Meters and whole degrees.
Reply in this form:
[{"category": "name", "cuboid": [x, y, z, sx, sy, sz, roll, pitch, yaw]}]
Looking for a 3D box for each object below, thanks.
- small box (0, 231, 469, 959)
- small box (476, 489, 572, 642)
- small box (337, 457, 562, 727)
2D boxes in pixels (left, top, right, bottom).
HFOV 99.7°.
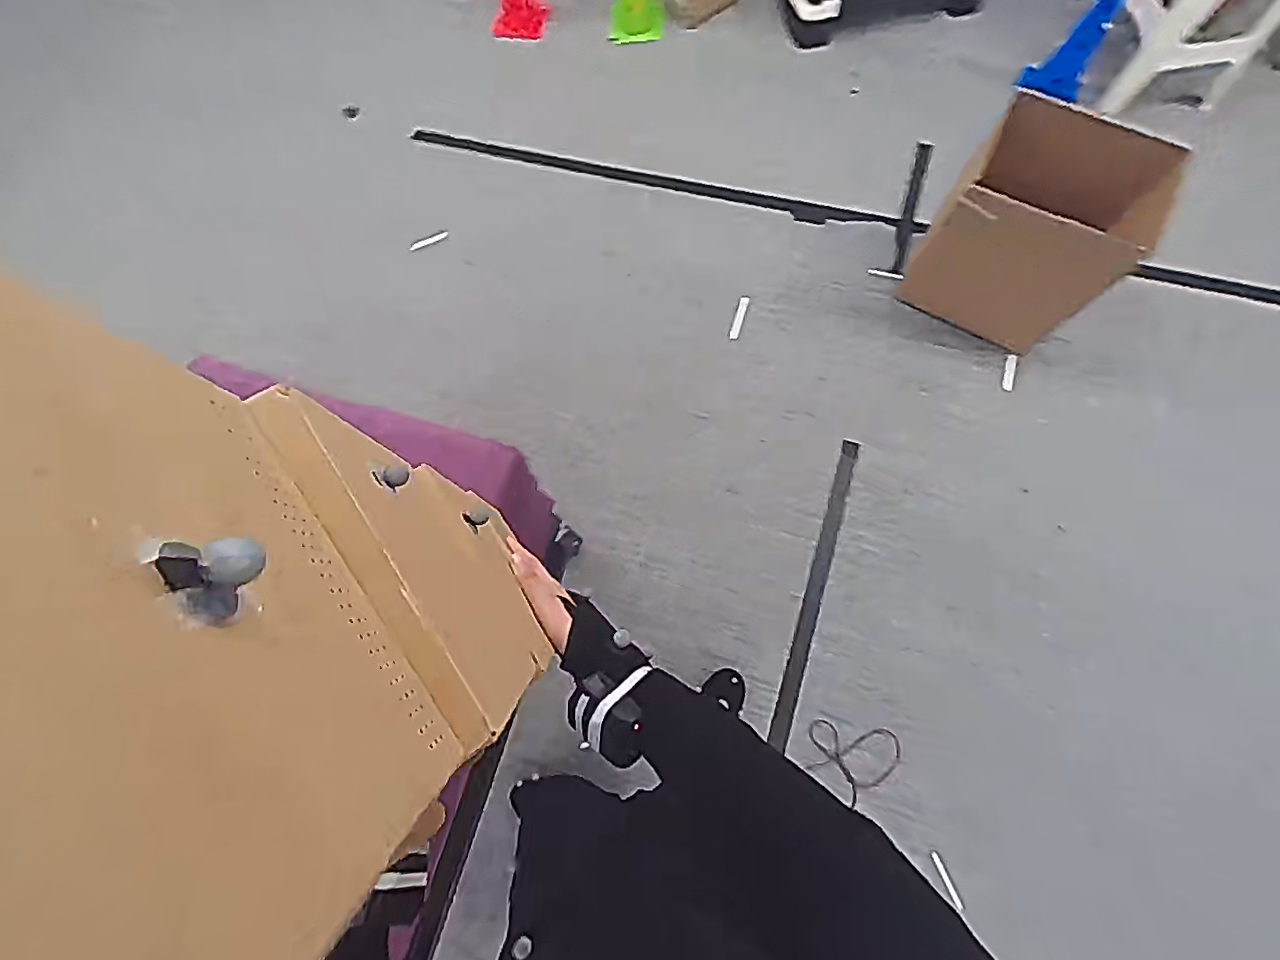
[{"category": "small box", "cuboid": [-0.163, 0.058, 0.113, 0.168, 0.176, 0.179, -34, 85, -10]}, {"category": "small box", "cuboid": [-0.186, 0.133, 0.602, 0.168, 0.176, 0.179, -32, 84, -10]}, {"category": "small box", "cuboid": [-0.176, 0.109, 0.439, 0.168, 0.176, 0.179, -30, 84, -9]}]
